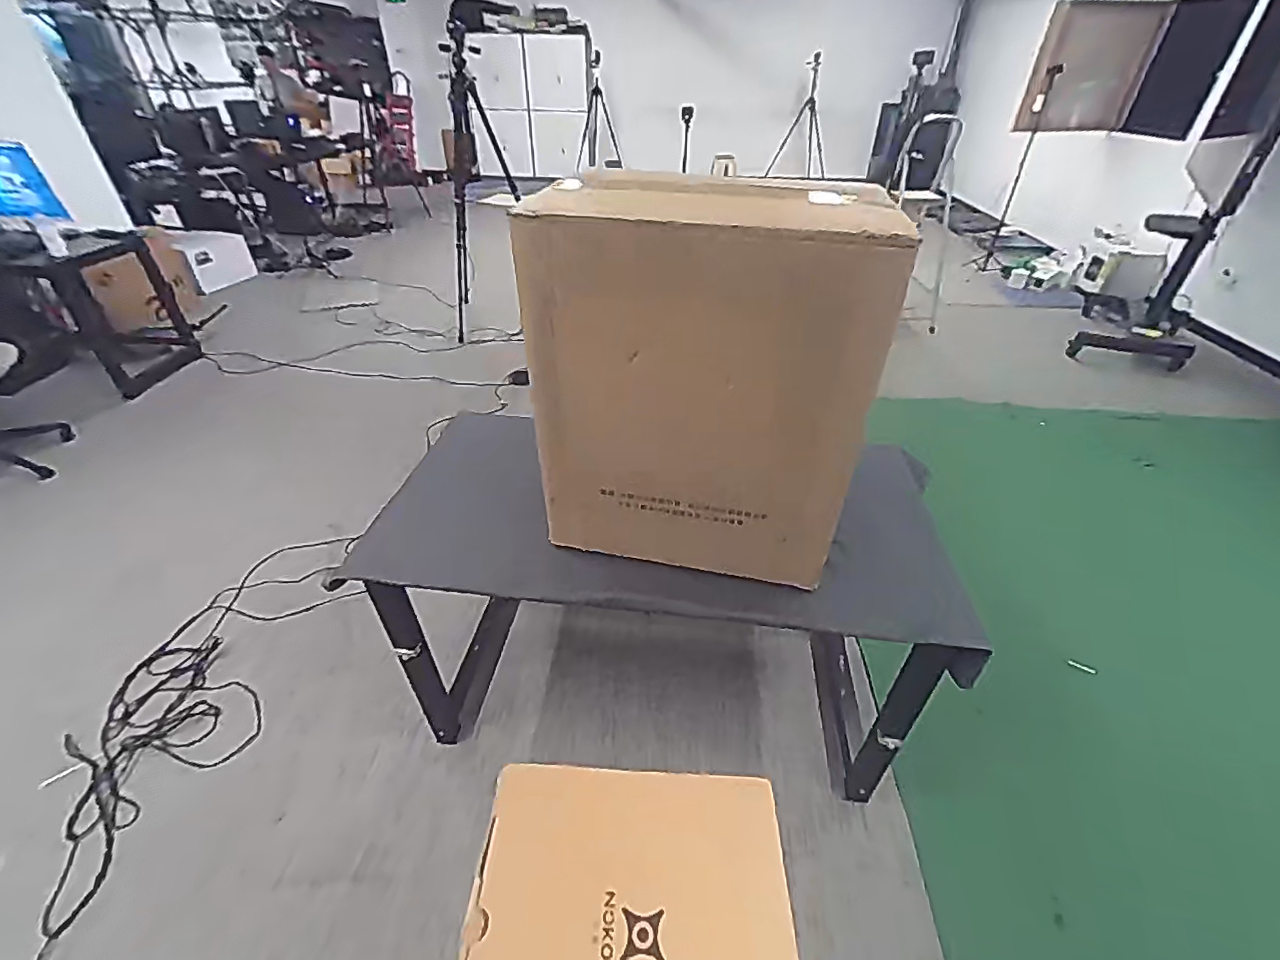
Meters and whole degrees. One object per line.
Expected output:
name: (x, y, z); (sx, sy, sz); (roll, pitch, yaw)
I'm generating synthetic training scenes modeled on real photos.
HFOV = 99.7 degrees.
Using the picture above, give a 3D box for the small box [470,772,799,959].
small box: (-0.007, 0.306, 0.339); (0.179, 0.176, 0.168); (3, 39, -2)
